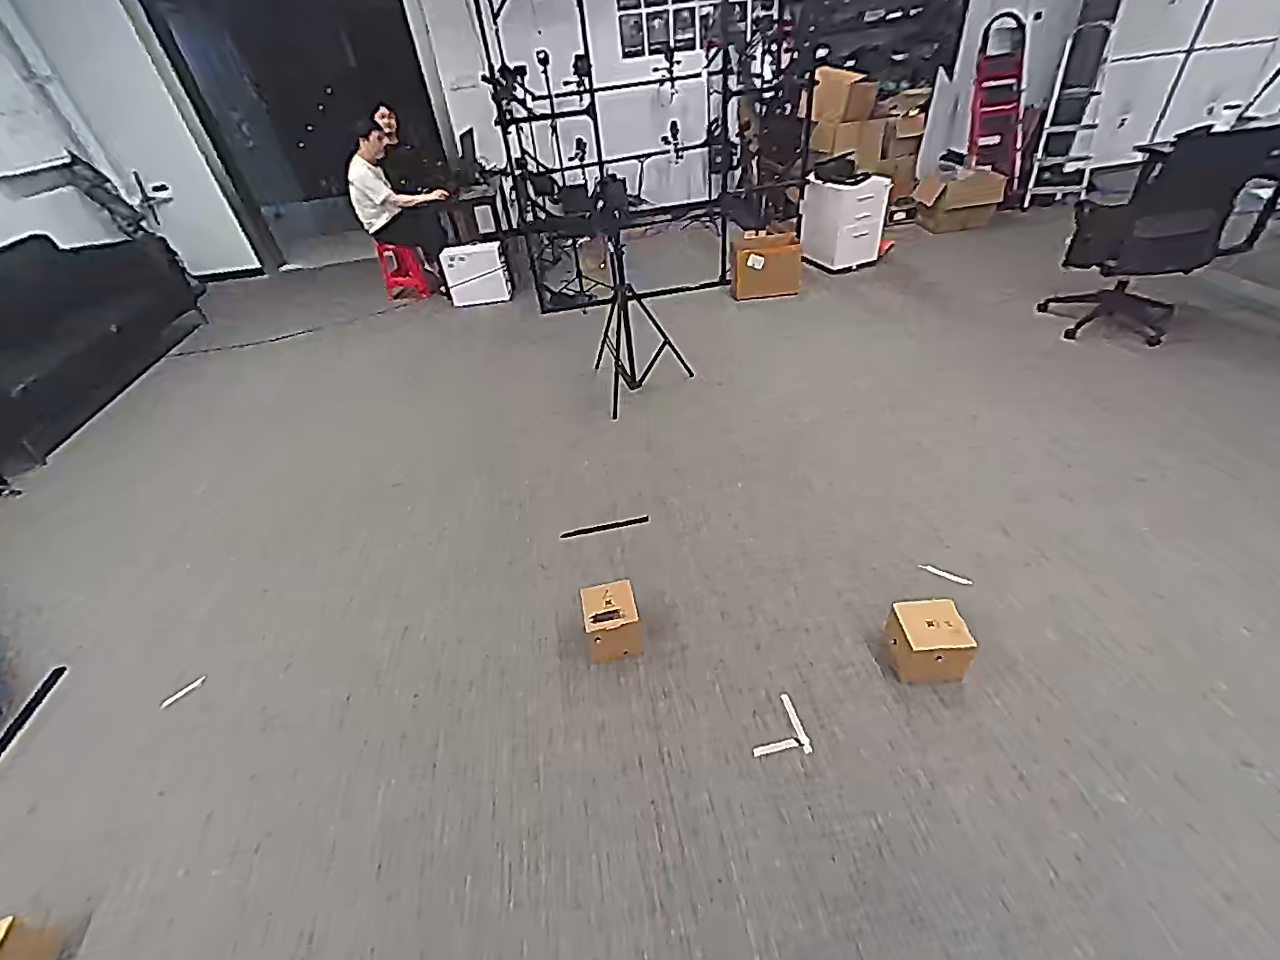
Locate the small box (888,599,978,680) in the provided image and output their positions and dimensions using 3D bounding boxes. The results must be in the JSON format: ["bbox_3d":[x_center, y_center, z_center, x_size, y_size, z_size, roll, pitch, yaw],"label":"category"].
[{"bbox_3d":[0.847,0.470,1.586,0.179,0.176,0.168,-4,39,3],"label":"small box"}]

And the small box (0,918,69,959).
[{"bbox_3d":[-1.428,1.100,1.175,0.179,0.176,0.168,-15,39,-9],"label":"small box"}]
